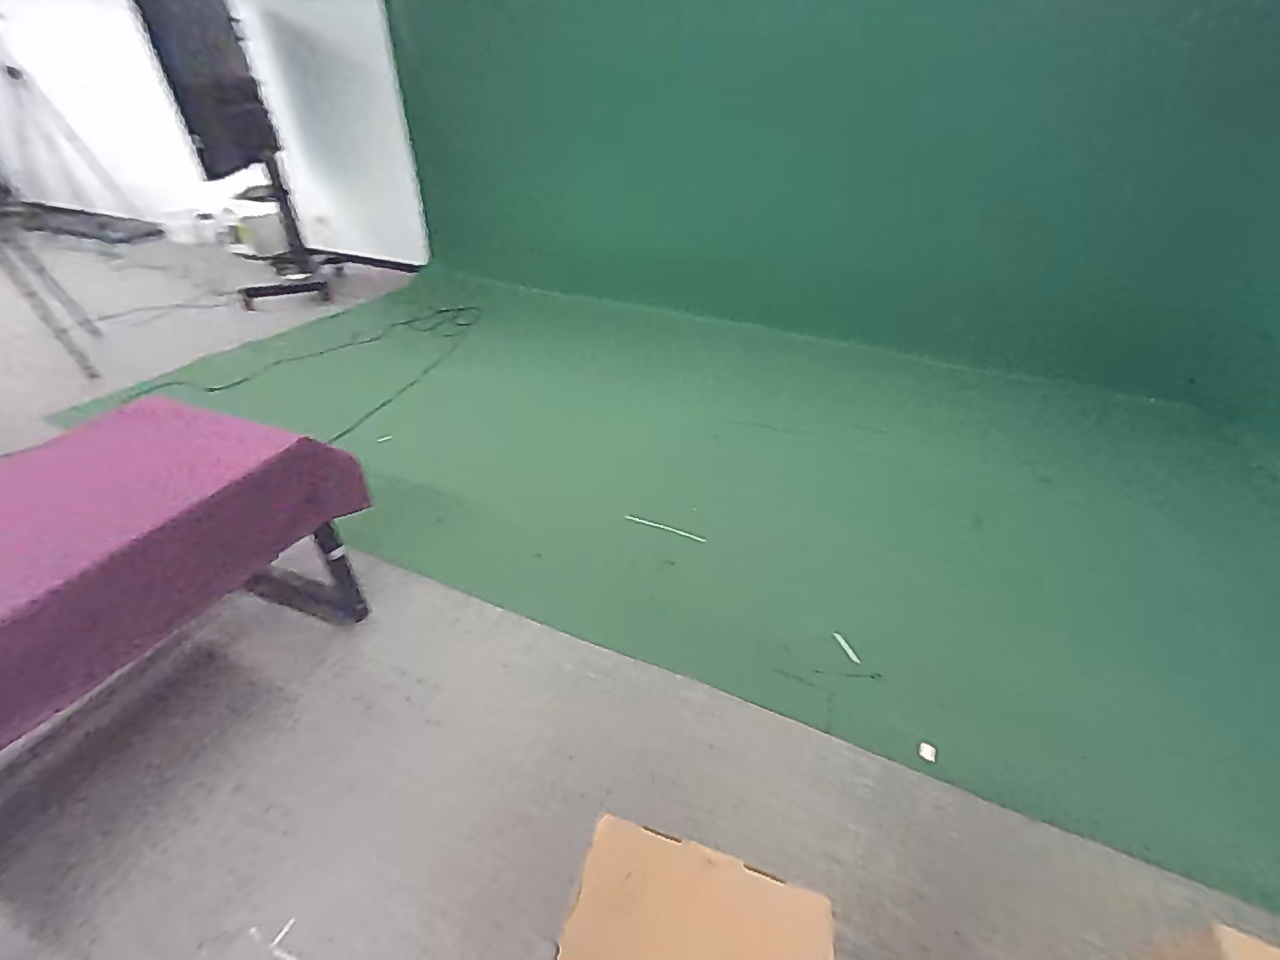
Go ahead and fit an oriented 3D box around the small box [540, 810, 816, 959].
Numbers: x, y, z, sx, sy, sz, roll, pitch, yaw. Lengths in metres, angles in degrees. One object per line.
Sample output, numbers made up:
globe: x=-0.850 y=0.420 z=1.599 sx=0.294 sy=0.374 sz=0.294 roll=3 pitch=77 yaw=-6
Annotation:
small box: x=0.005 y=0.368 z=0.360 sx=0.168 sy=0.176 sz=0.179 roll=17 pitch=40 yaw=6
